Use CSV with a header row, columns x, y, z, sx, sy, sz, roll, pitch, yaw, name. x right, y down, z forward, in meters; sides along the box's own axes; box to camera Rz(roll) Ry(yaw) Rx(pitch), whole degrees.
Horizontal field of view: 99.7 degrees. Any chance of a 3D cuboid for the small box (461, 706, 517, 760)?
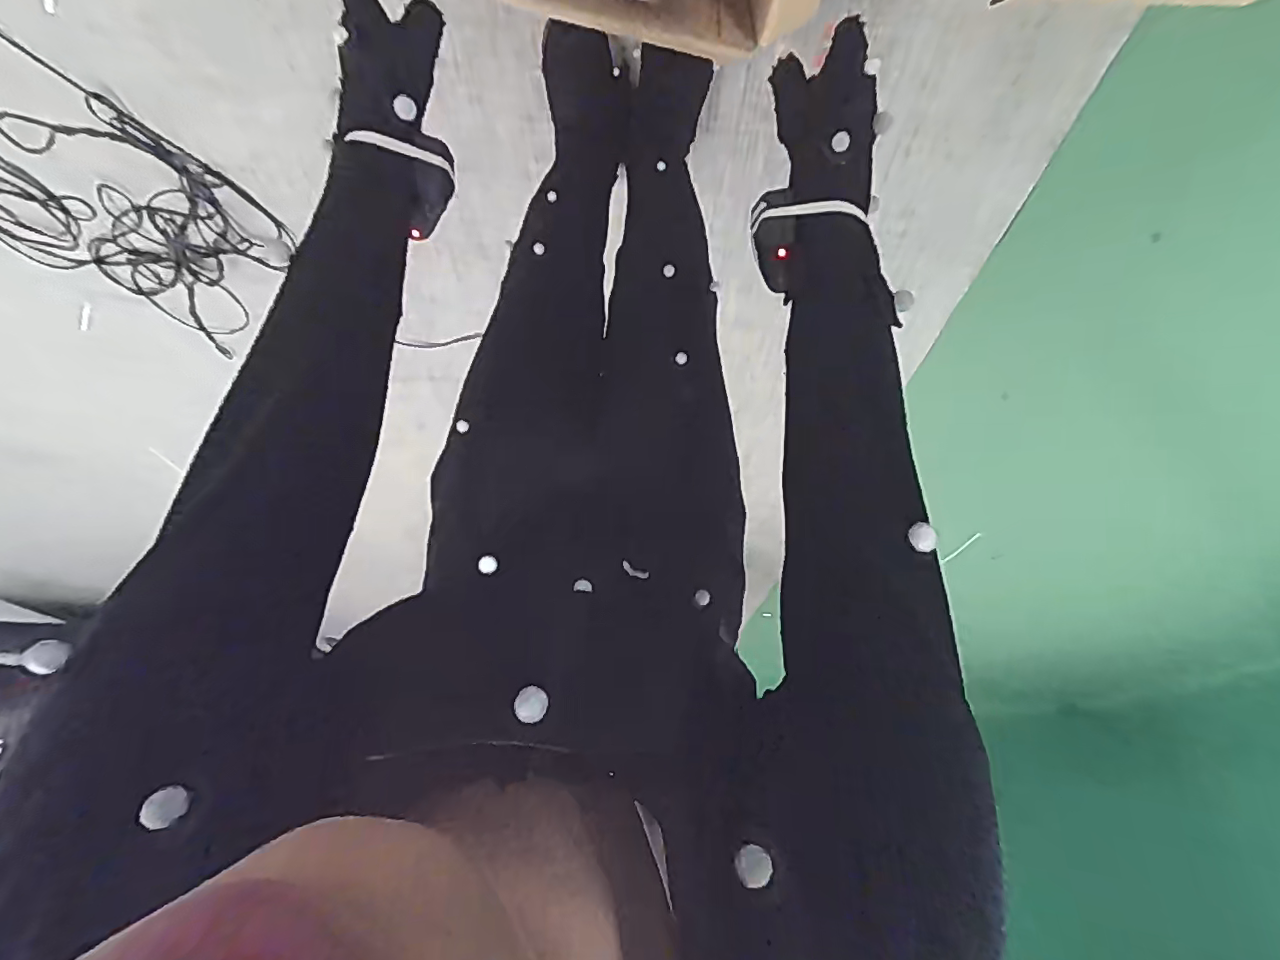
x,y,z,sx,sy,sz,roll,pitch,yaw,name
-0.598,1.015,2.166,0.168,0.176,0.179,4,148,0,small box
